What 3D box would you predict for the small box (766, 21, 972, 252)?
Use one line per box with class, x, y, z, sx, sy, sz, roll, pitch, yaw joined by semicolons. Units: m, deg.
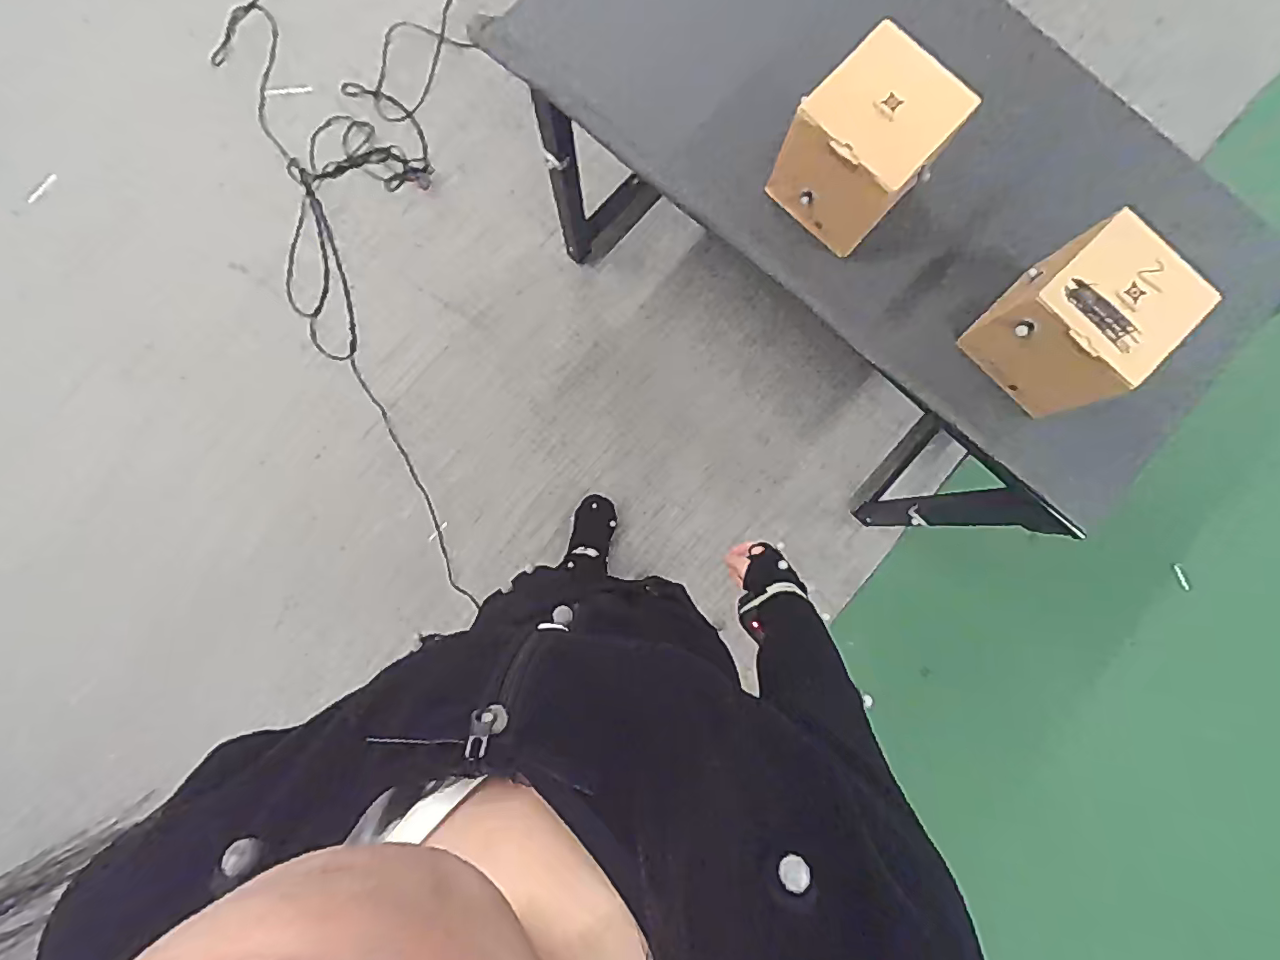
small box;0.306;-0.469;0.765;0.168;0.176;0.179;43;85;1
